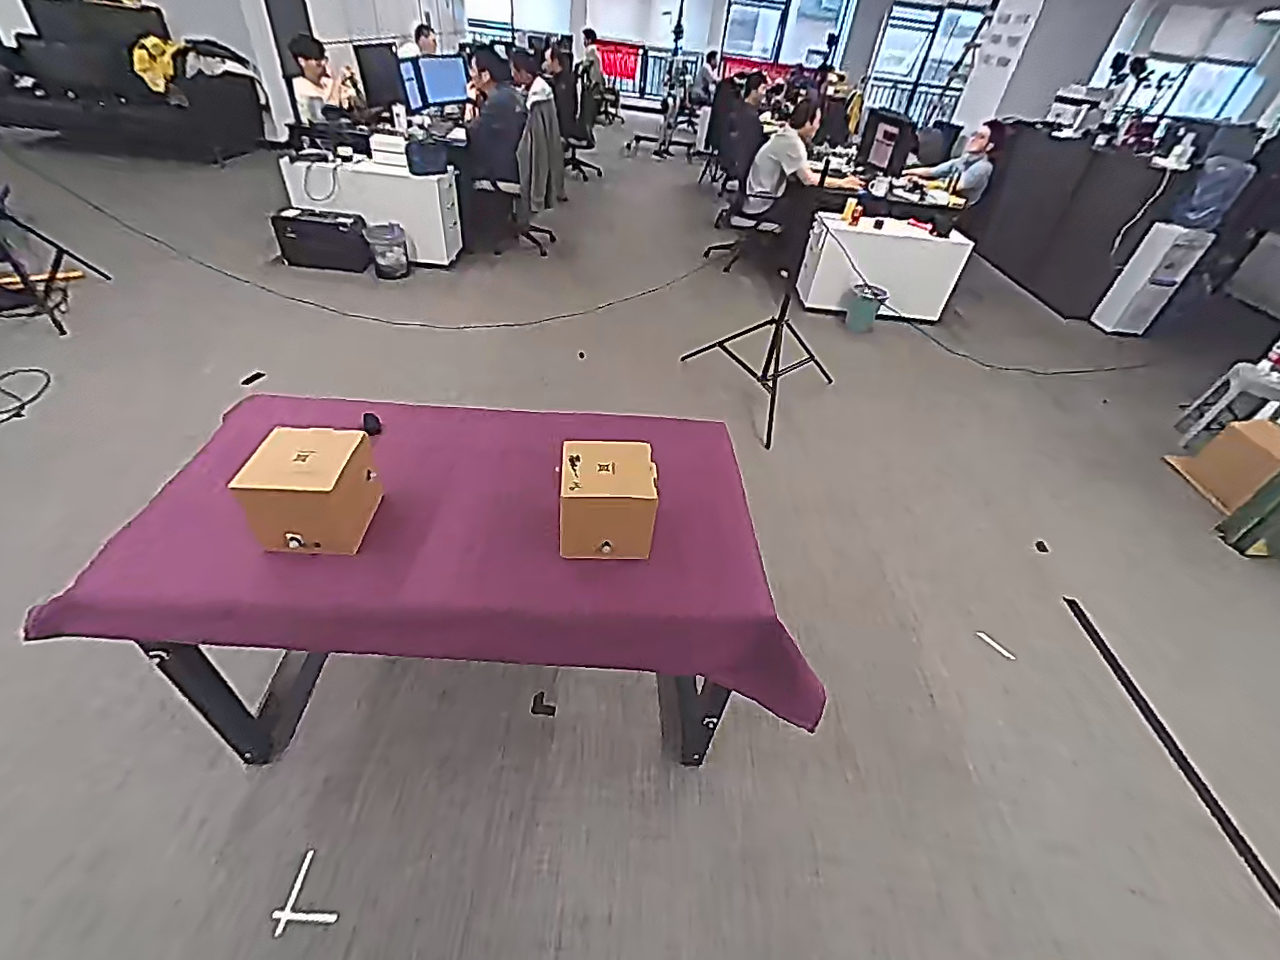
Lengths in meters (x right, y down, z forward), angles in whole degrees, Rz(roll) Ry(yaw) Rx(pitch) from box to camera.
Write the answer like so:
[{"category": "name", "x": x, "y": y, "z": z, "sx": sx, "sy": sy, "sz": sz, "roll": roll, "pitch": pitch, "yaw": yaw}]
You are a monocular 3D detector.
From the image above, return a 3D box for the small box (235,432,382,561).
[{"category": "small box", "x": -0.605, "y": 0.030, "z": 1.017, "sx": 0.168, "sy": 0.176, "sz": 0.179, "roll": 2, "pitch": 41, "yaw": -5}]

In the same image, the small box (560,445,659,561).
[{"category": "small box", "x": -0.066, "y": 0.048, "z": 1.077, "sx": 0.179, "sy": 0.176, "sz": 0.168, "roll": 2, "pitch": 40, "yaw": -7}]
